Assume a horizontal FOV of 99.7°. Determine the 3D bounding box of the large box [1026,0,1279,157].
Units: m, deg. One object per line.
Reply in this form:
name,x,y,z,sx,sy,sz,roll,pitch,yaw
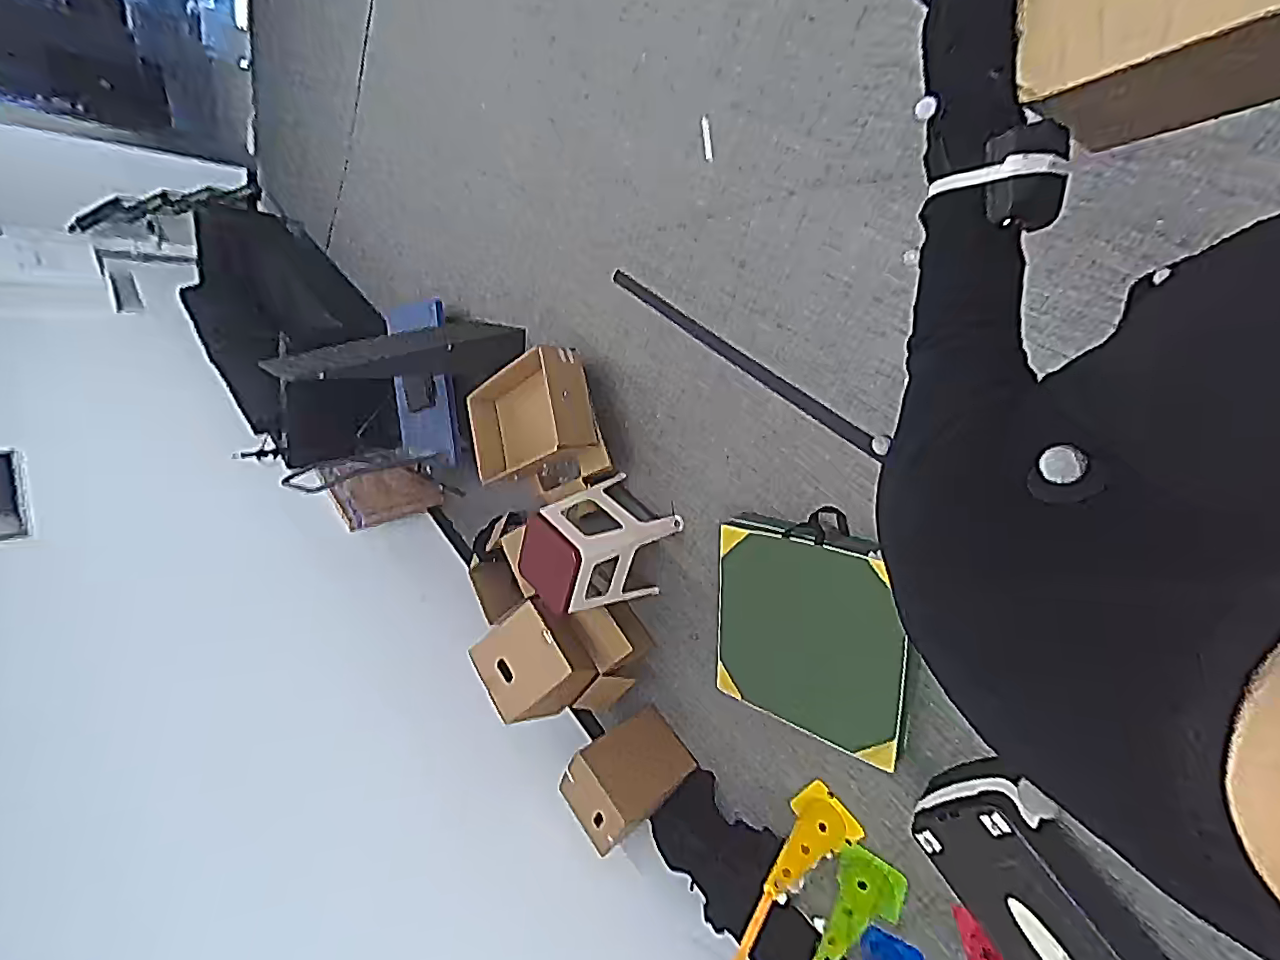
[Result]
large box,0.502,-0.447,0.323,0.408,0.320,0.320,5,111,45
